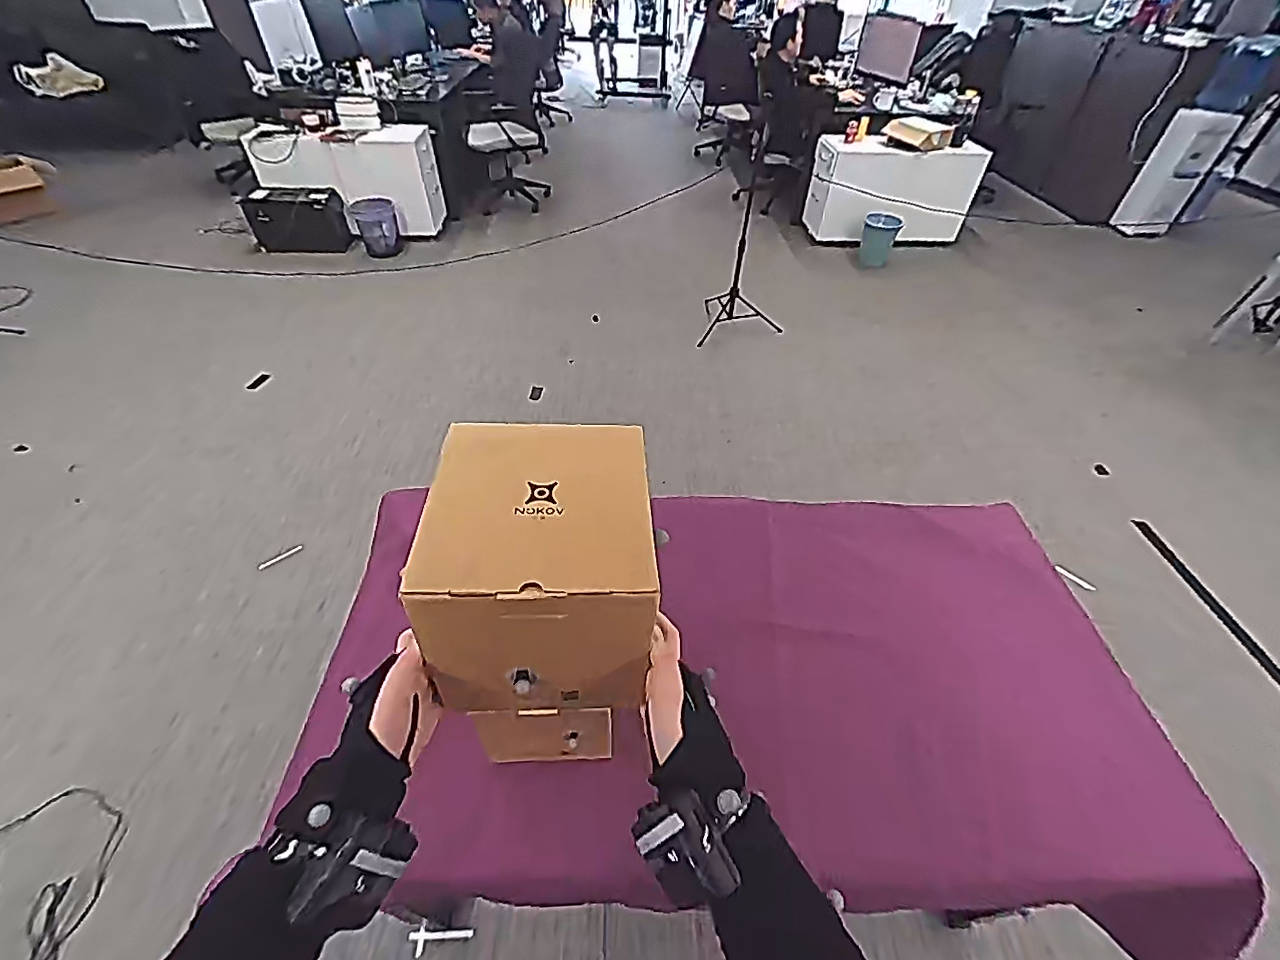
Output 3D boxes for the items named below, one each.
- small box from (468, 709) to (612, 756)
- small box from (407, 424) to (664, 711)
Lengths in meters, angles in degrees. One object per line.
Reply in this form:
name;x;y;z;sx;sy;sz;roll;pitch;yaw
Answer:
small box;-0.120;0.258;0.731;0.168;0.176;0.179;1;45;-3
small box;-0.076;0.074;0.457;0.168;0.176;0.179;1;45;-5
